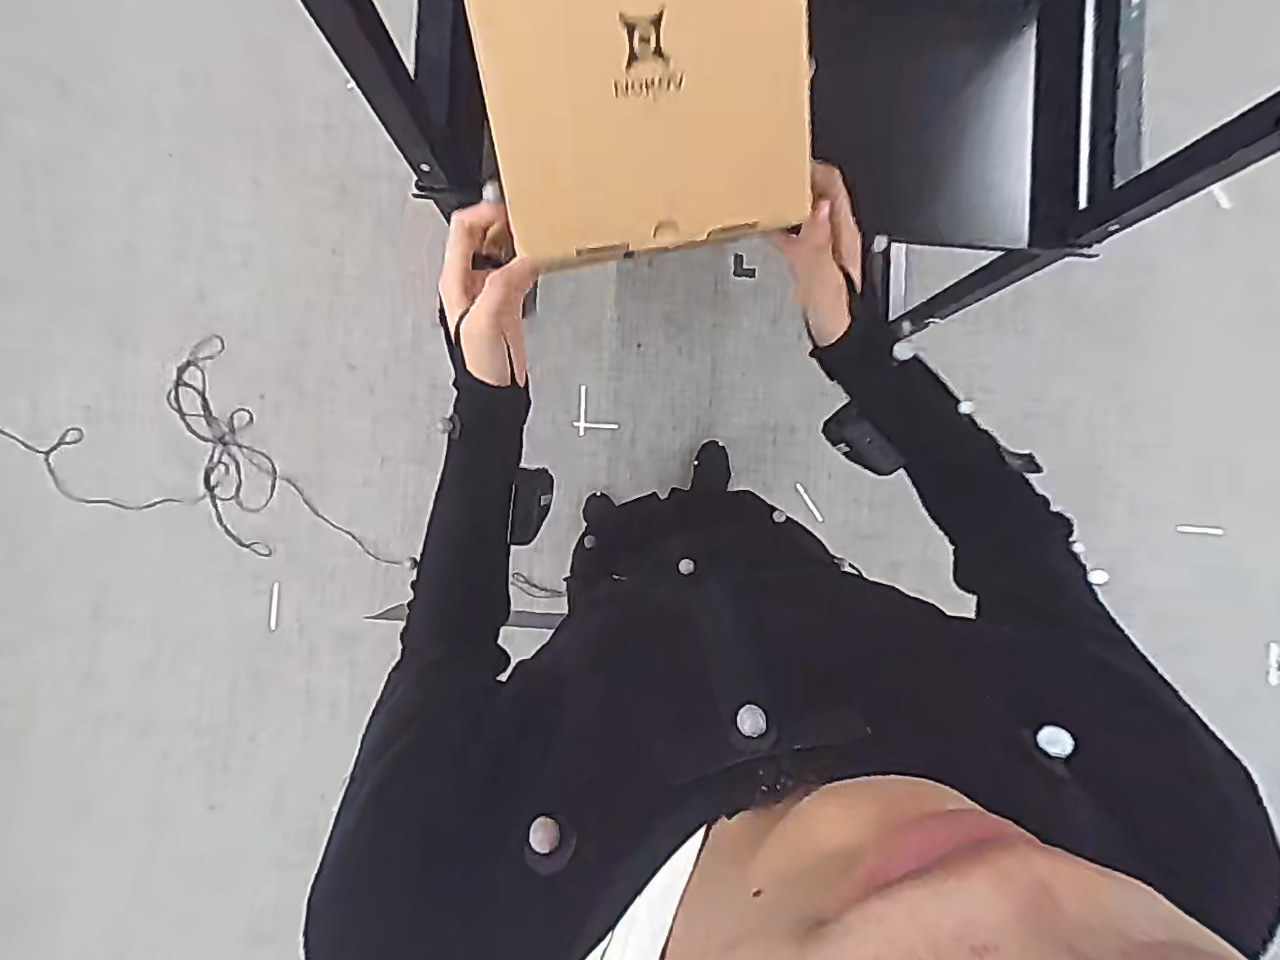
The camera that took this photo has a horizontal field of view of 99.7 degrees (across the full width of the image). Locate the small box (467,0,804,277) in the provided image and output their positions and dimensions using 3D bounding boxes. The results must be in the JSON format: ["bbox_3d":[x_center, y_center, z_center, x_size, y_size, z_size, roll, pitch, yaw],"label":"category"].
[{"bbox_3d":[-0.008,-0.235,0.349,0.168,0.176,0.179,-10,111,-3],"label":"small box"}]
